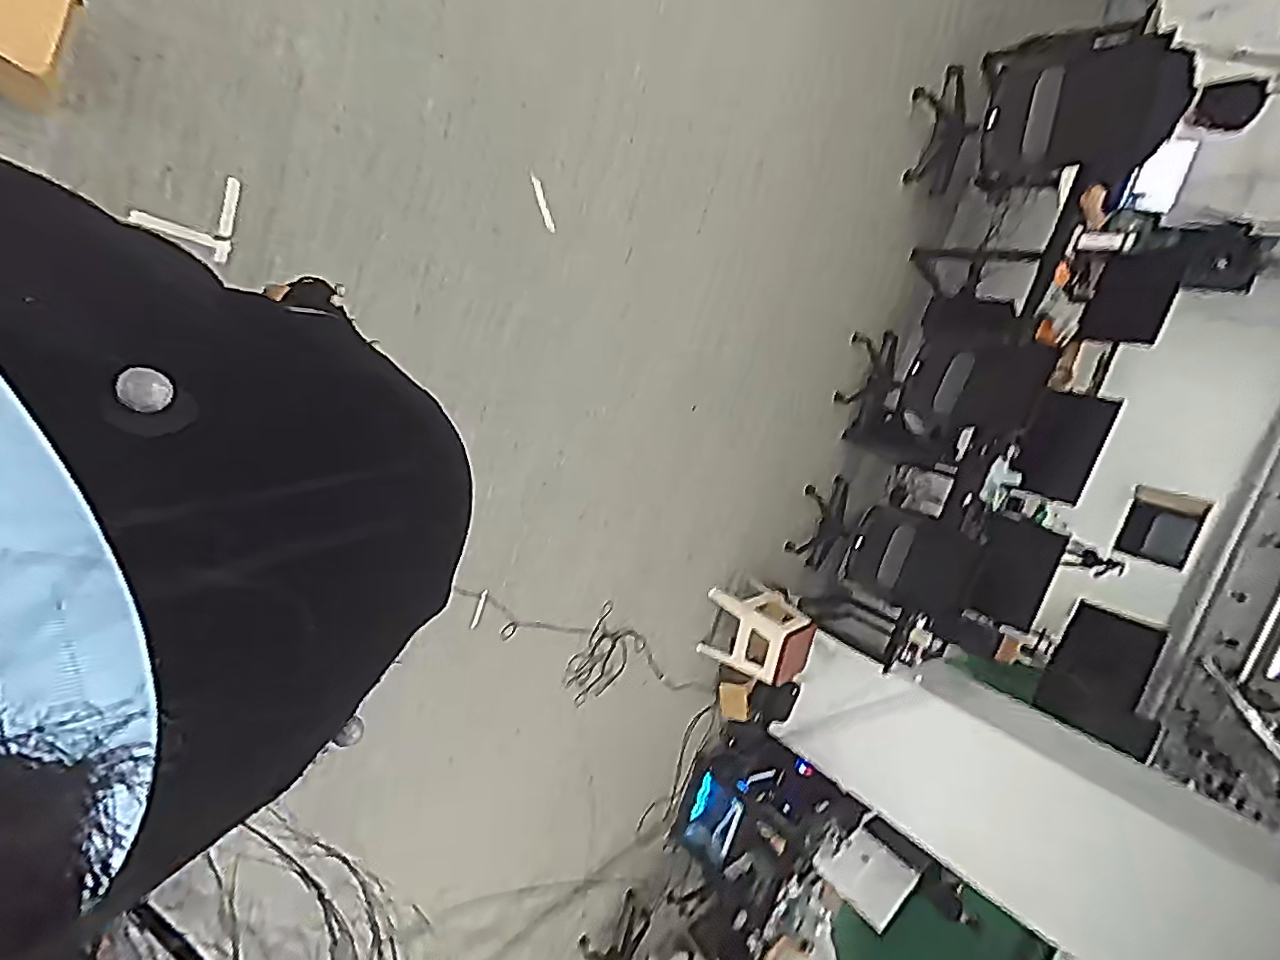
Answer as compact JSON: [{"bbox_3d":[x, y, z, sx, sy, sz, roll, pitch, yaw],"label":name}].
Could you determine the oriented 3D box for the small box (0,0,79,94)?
[{"bbox_3d":[-0.874,-0.656,0.709,0.168,0.176,0.179,19,94,-47],"label":"small box"}]
